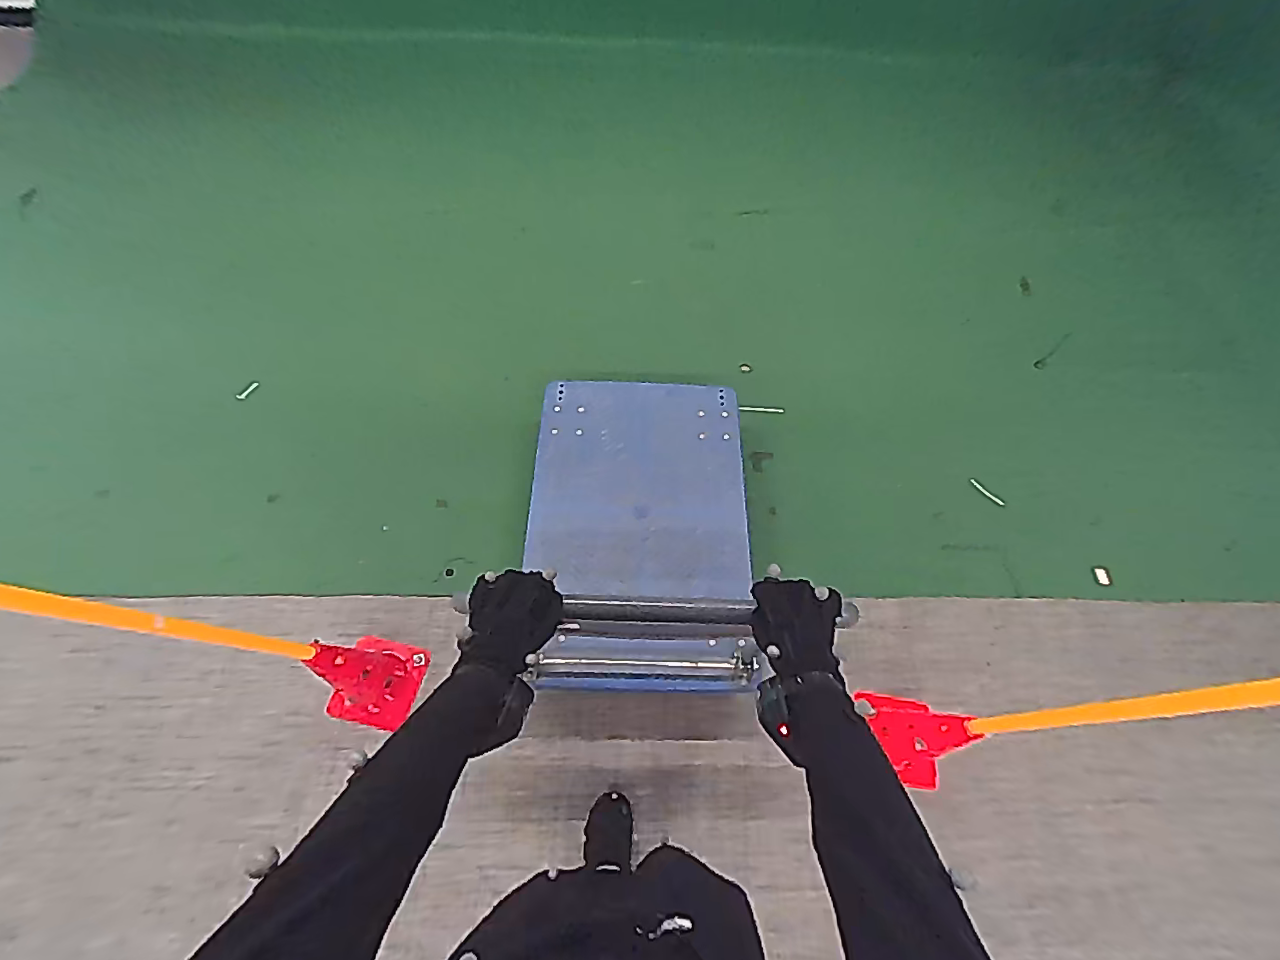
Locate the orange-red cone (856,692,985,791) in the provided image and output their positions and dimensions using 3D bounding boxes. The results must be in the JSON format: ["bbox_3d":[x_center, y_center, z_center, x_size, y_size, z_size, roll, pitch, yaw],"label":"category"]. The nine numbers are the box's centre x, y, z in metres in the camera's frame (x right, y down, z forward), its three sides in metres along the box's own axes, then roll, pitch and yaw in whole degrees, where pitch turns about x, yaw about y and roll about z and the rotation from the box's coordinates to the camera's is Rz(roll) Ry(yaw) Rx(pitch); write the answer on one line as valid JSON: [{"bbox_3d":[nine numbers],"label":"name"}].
[{"bbox_3d":[0.634,0.557,1.180,0.198,0.360,0.199,10,62,4],"label":"orange-red cone"}]
